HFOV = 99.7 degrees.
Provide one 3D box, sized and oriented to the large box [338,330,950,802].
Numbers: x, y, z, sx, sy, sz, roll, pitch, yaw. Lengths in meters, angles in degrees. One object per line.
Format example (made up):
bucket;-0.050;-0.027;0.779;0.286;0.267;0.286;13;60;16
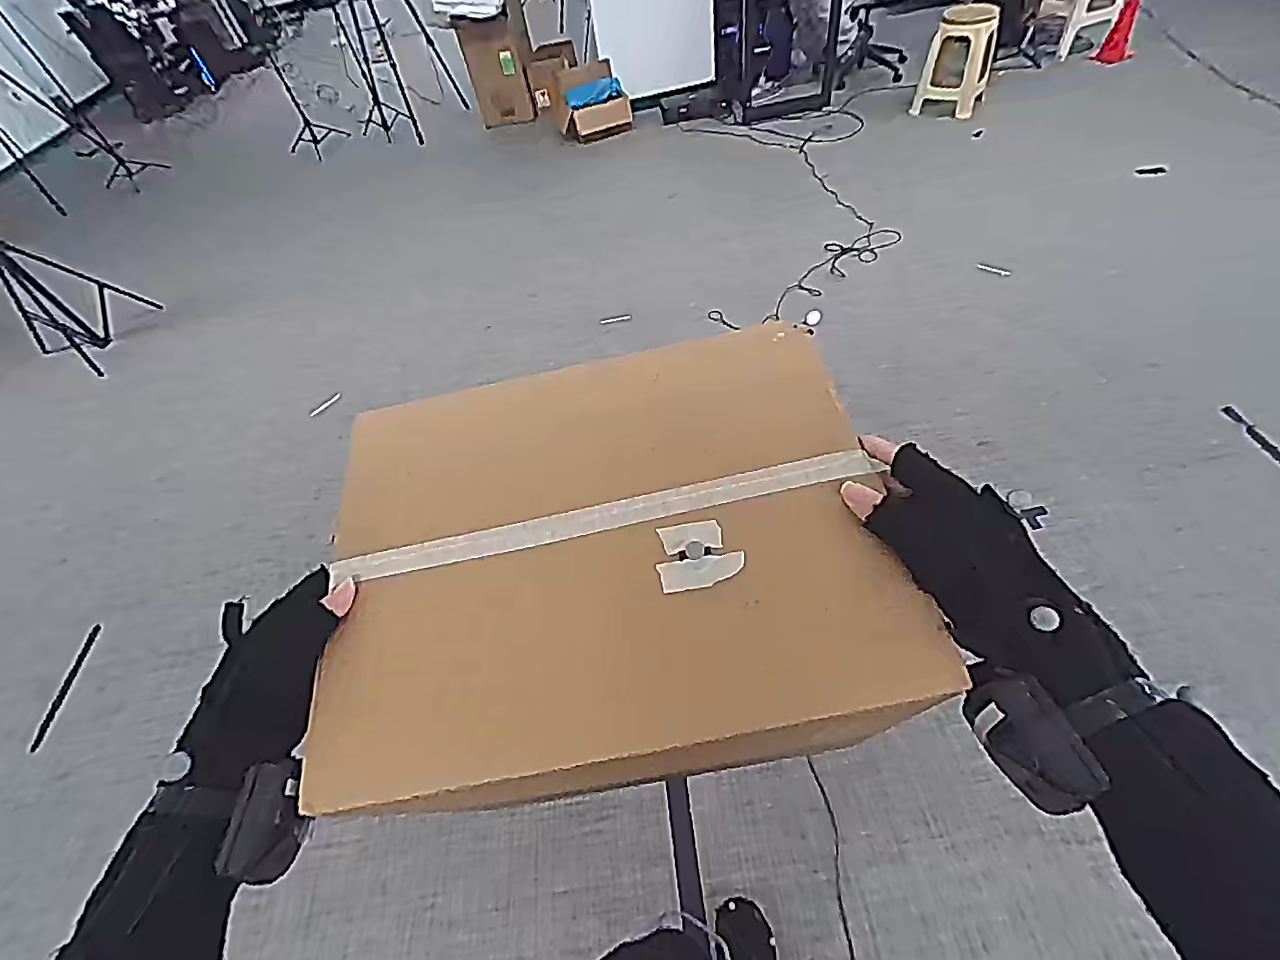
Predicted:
large box;-0.006;0.108;0.541;0.408;0.320;0.320;-12;59;2
